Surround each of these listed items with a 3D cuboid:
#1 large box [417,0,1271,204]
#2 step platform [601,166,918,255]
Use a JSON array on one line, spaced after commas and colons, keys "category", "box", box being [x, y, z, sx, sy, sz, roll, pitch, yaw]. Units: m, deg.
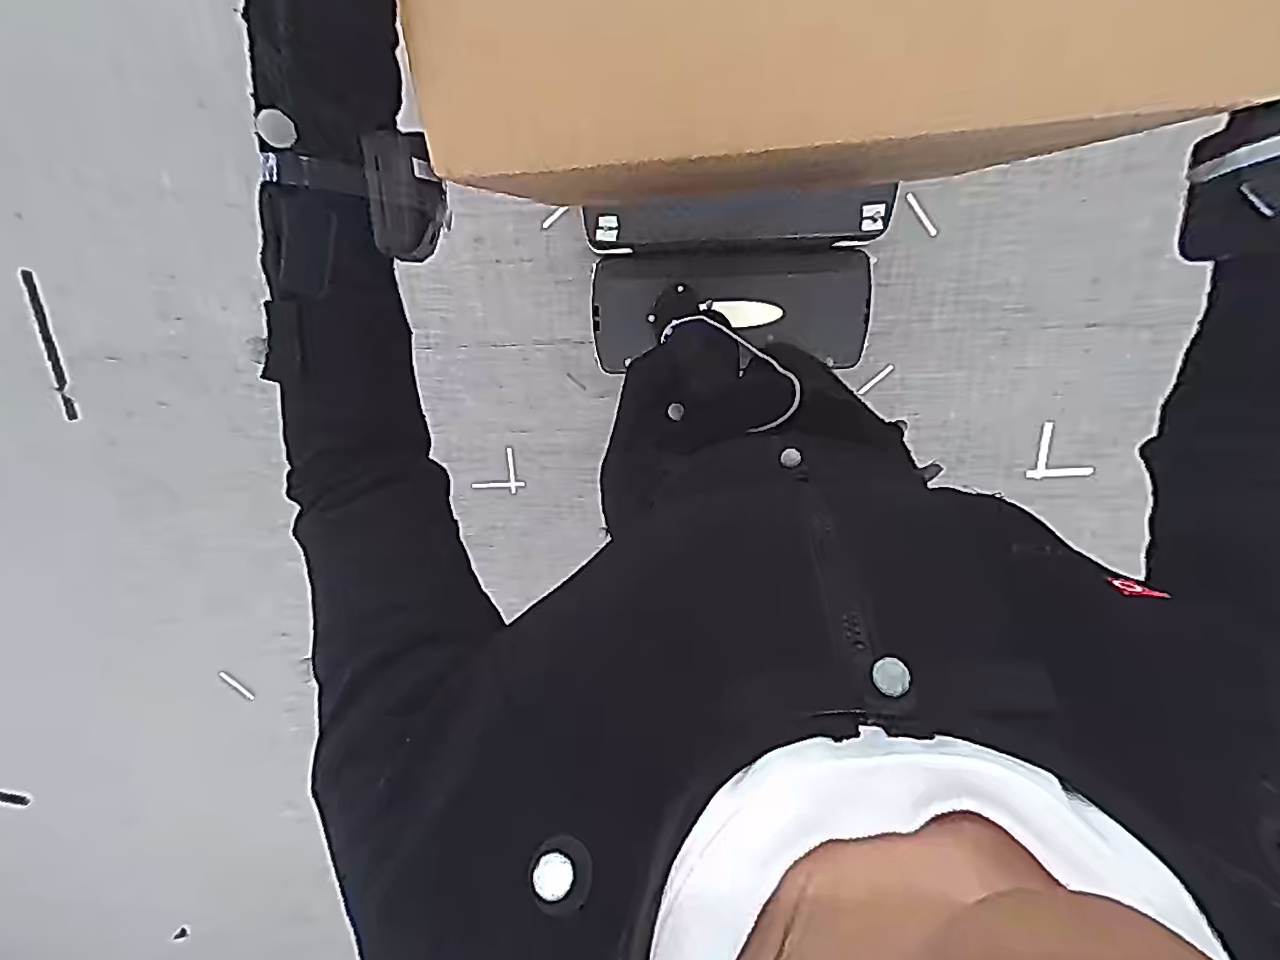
[{"category": "large box", "box": [0.088, -0.379, 0.352, 0.408, 0.320, 0.320, -2, 115, 5]}, {"category": "step platform", "box": [0.248, -0.675, 1.206, 0.684, 0.204, 0.286, -2, 109, 2]}]
